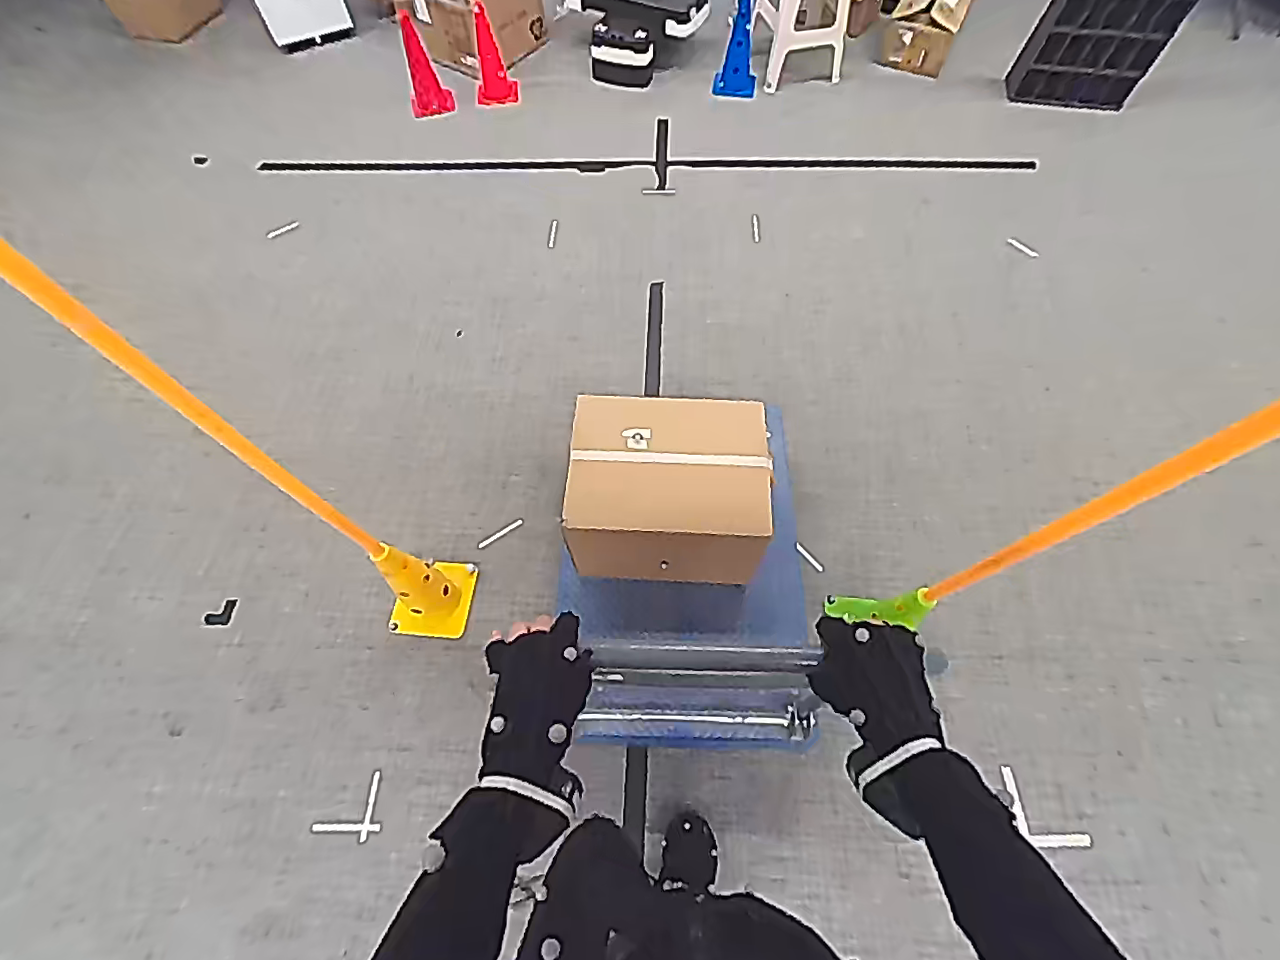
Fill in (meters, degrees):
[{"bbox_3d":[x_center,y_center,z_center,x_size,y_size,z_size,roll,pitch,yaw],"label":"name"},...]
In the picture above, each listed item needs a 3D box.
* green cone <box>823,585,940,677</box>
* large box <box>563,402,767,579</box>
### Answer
[{"bbox_3d":[0.578,0.317,1.244,0.202,0.368,0.200,5,62,2],"label":"green cone"},{"bbox_3d":[0.058,0.035,1.241,0.408,0.320,0.320,2,63,3],"label":"large box"}]
